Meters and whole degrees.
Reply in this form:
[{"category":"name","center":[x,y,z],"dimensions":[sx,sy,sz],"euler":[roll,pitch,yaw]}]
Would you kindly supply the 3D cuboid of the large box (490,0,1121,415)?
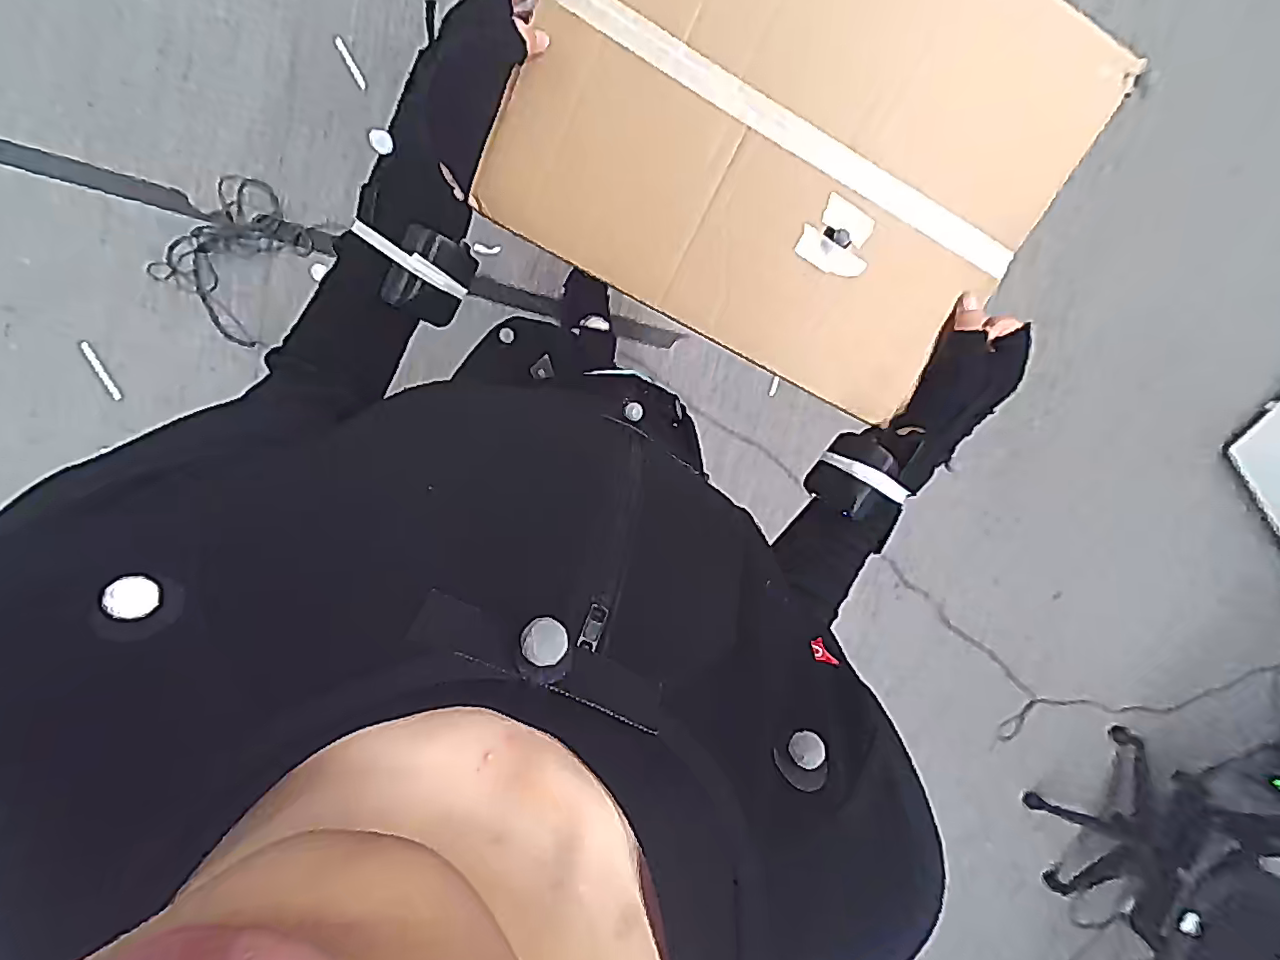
[{"category":"large box","center":[0.115,-0.318,0.555],"dimensions":[0.408,0.320,0.320],"euler":[25,108,-11]}]
